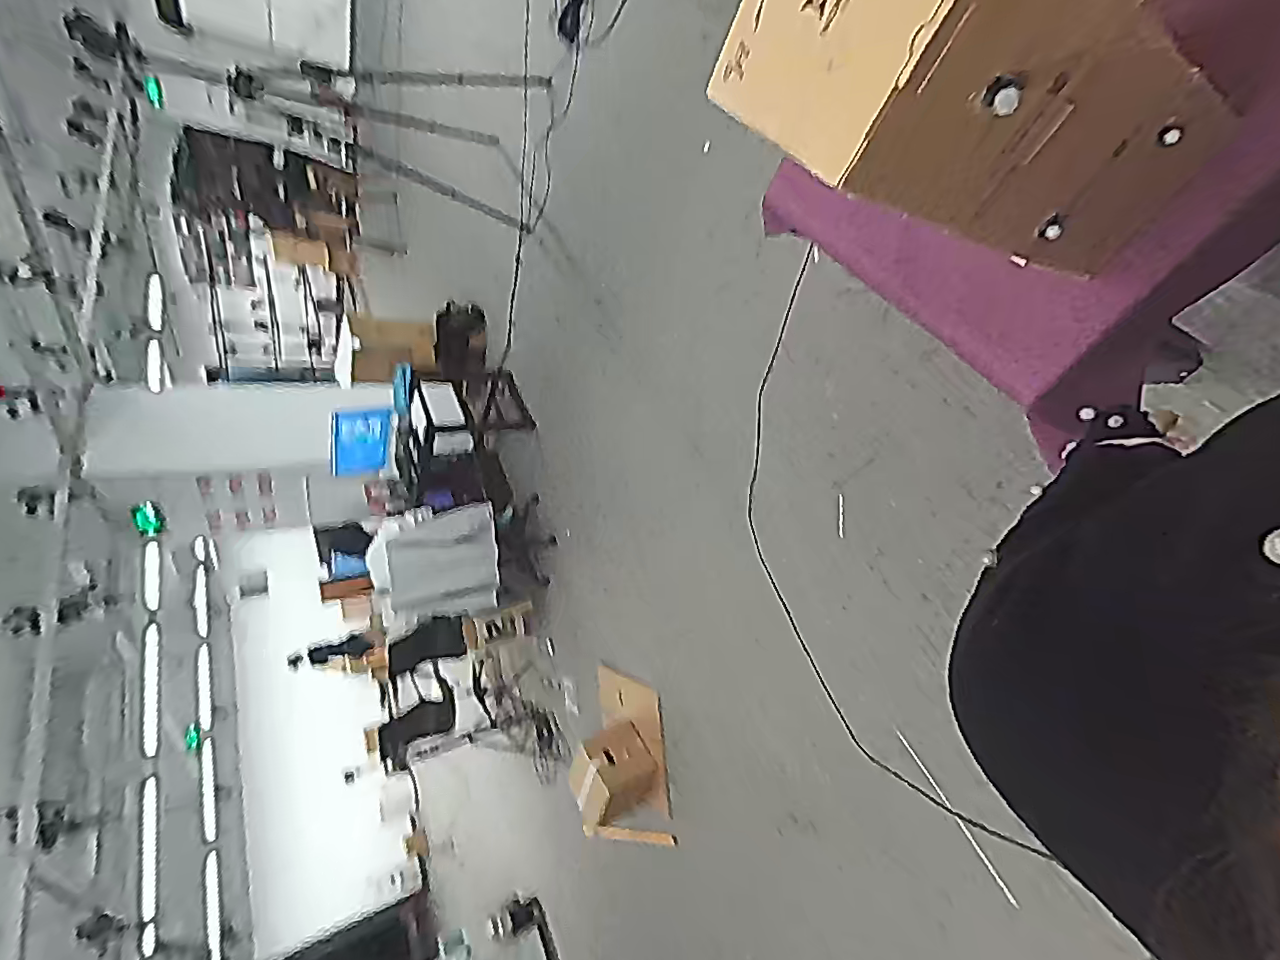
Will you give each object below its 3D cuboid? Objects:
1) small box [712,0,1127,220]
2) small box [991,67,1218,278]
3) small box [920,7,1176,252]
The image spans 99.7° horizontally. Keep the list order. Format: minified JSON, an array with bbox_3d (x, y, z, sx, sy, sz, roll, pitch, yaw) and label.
[{"bbox_3d":[0.193,-0.313,0.396,0.179,0.176,0.168,58,138,31],"label":"small box"},{"bbox_3d":[0.457,-0.344,0.590,0.168,0.176,0.179,59,138,31],"label":"small box"},{"bbox_3d":[0.322,-0.330,0.497,0.179,0.176,0.168,60,138,32],"label":"small box"}]
